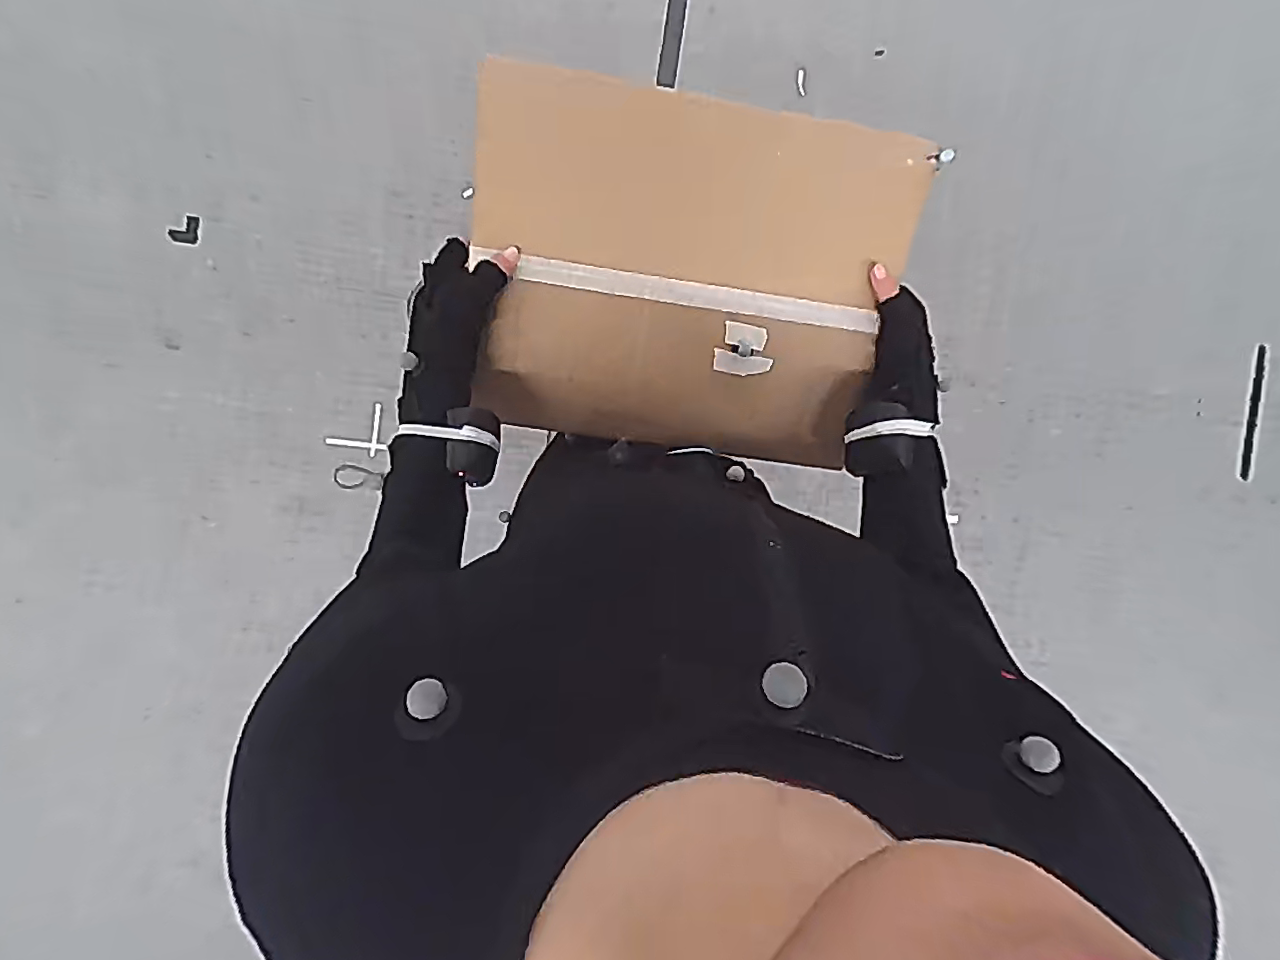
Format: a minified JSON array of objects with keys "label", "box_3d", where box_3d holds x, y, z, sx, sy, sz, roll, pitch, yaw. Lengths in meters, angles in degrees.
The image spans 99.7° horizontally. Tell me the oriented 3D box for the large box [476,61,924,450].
[{"label":"large box","box_3d":[0.037,-0.251,0.667,0.408,0.320,0.320,8,113,-5]}]
